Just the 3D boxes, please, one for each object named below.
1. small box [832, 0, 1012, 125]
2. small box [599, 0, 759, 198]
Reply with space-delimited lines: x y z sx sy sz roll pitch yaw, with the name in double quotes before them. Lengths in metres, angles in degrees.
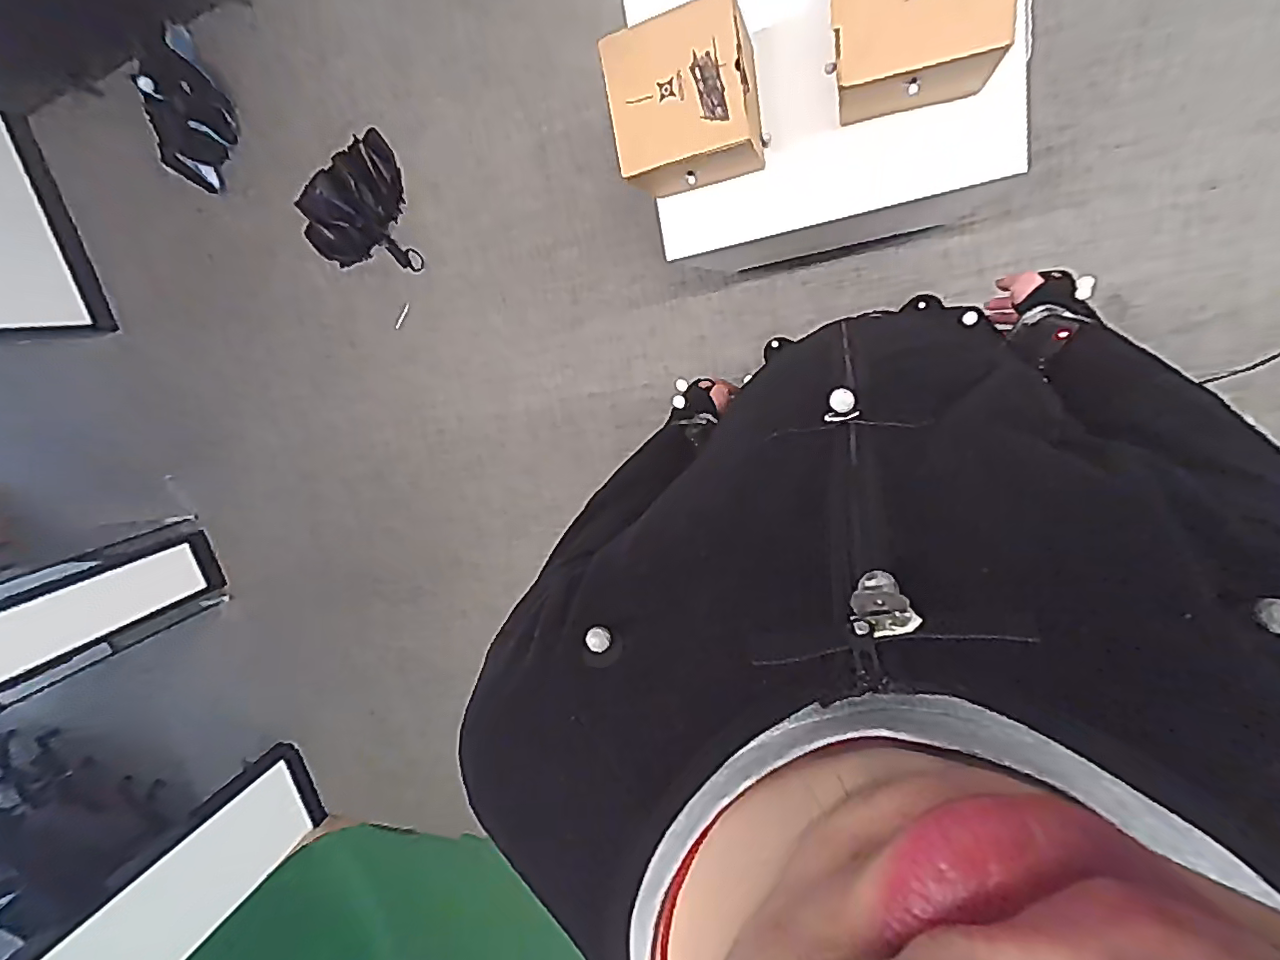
"small box" 0.324 -0.552 0.646 0.179 0.176 0.168 -1 109 20
"small box" 0.066 -0.512 0.753 0.179 0.176 0.168 -4 106 22
